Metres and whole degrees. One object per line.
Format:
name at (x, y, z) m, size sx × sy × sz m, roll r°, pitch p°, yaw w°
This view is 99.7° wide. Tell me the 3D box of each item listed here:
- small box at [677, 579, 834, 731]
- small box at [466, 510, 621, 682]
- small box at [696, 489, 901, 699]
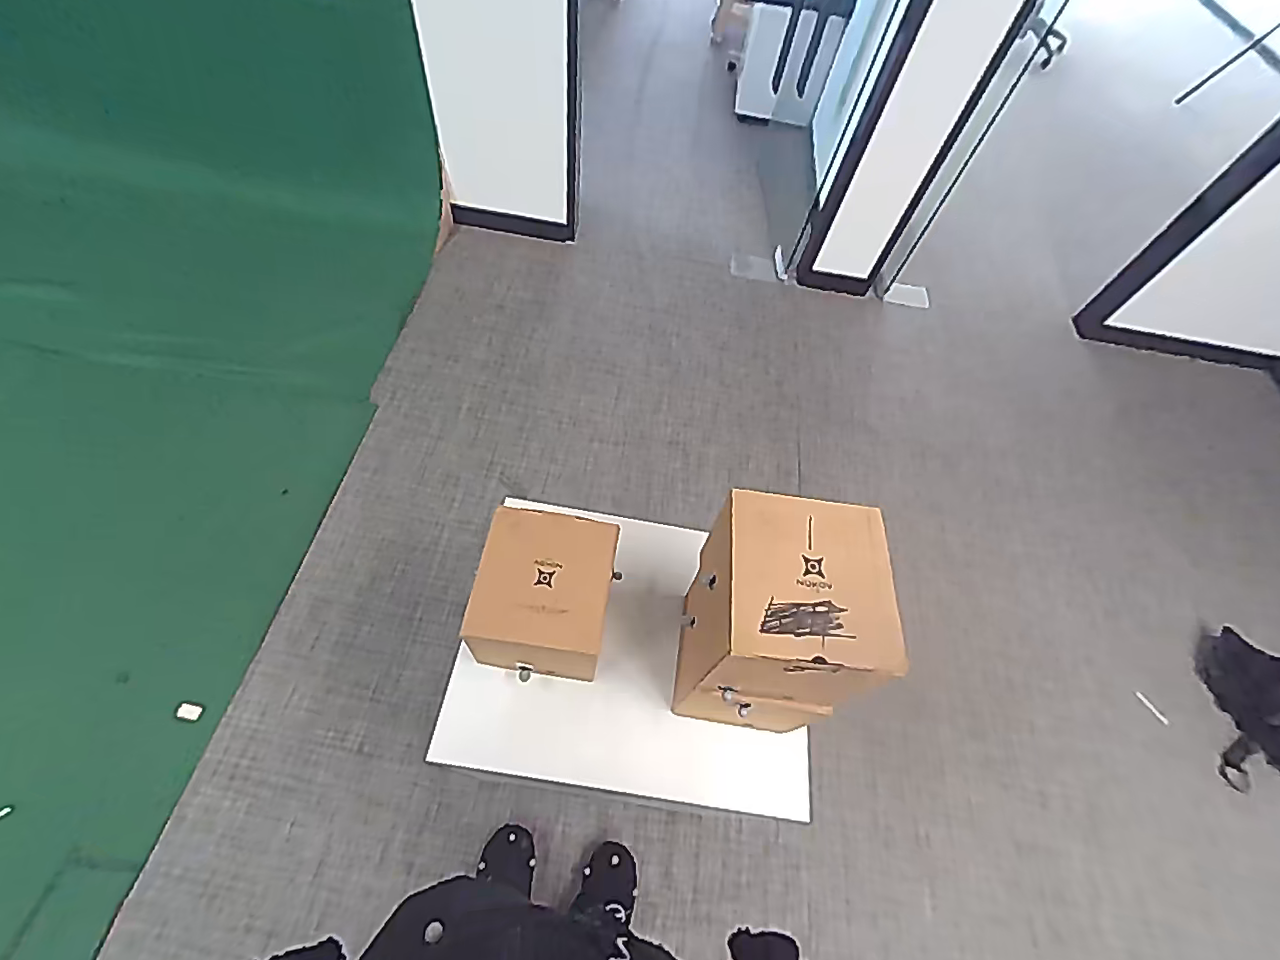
small box at (0.147, 0.225, 0.735) m, size 0.168 × 0.176 × 0.179 m, roll 9°, pitch 58°, yaw 0°
small box at (-0.123, 0.164, 0.742) m, size 0.168 × 0.176 × 0.179 m, roll 8°, pitch 60°, yaw -2°
small box at (0.158, 0.133, 0.598) m, size 0.168 × 0.176 × 0.179 m, roll 7°, pitch 58°, yaw -2°
